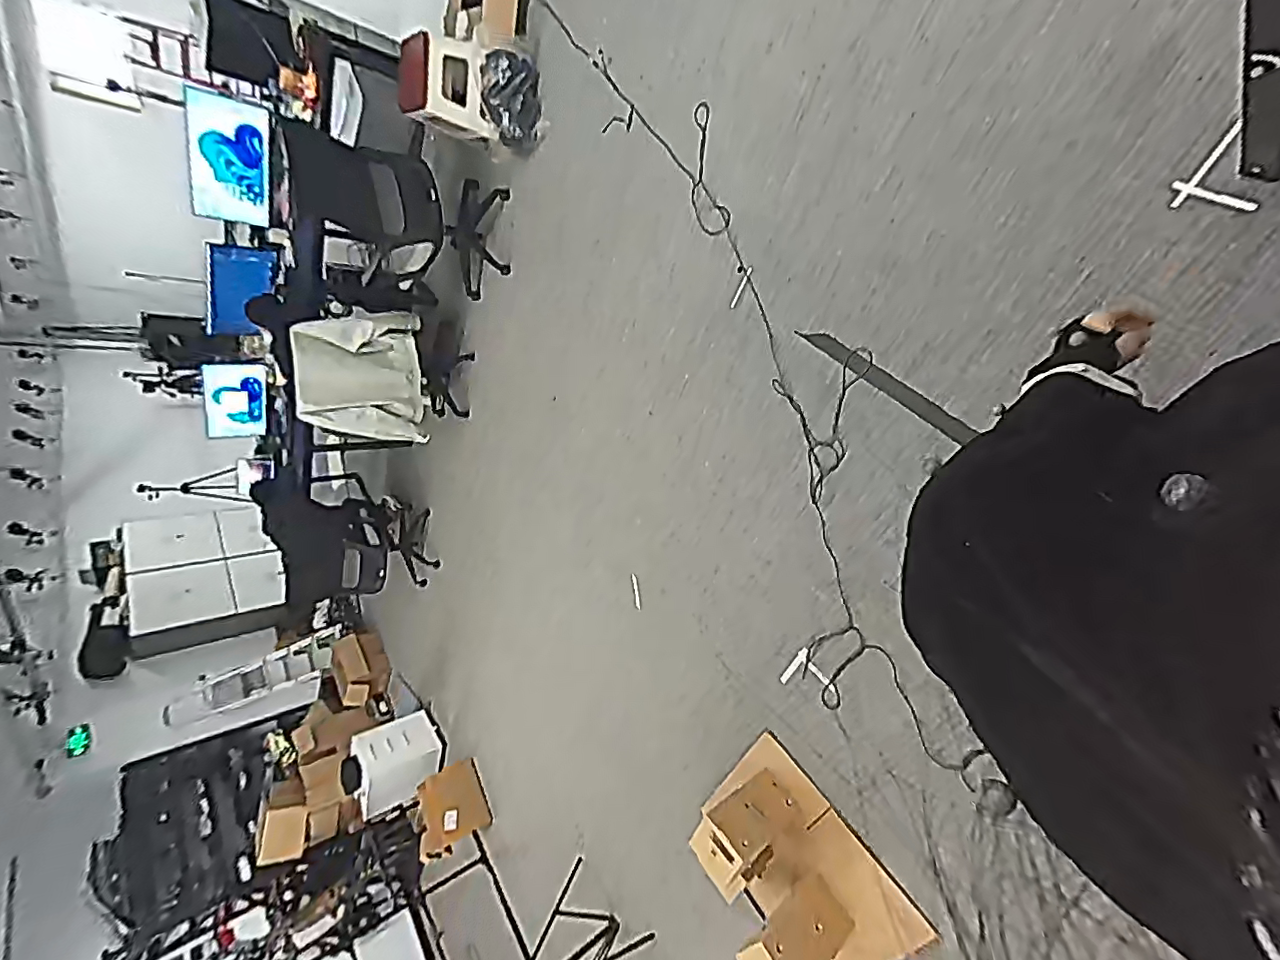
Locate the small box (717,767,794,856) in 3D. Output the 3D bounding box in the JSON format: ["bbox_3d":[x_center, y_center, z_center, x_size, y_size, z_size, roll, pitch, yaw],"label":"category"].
[{"bbox_3d":[0.405,1.141,1.874,0.168,0.176,0.179,42,125,35],"label":"small box"}]

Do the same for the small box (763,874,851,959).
[{"bbox_3d":[0.546,1.436,1.767,0.179,0.176,0.168,48,128,30],"label":"small box"}]

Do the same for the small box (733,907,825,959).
[{"bbox_3d":[0.427,1.457,1.656,0.179,0.176,0.168,49,129,29],"label":"small box"}]

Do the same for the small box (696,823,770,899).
[{"bbox_3d":[0.341,1.369,1.984,0.179,0.176,0.168,42,126,35],"label":"small box"}]
